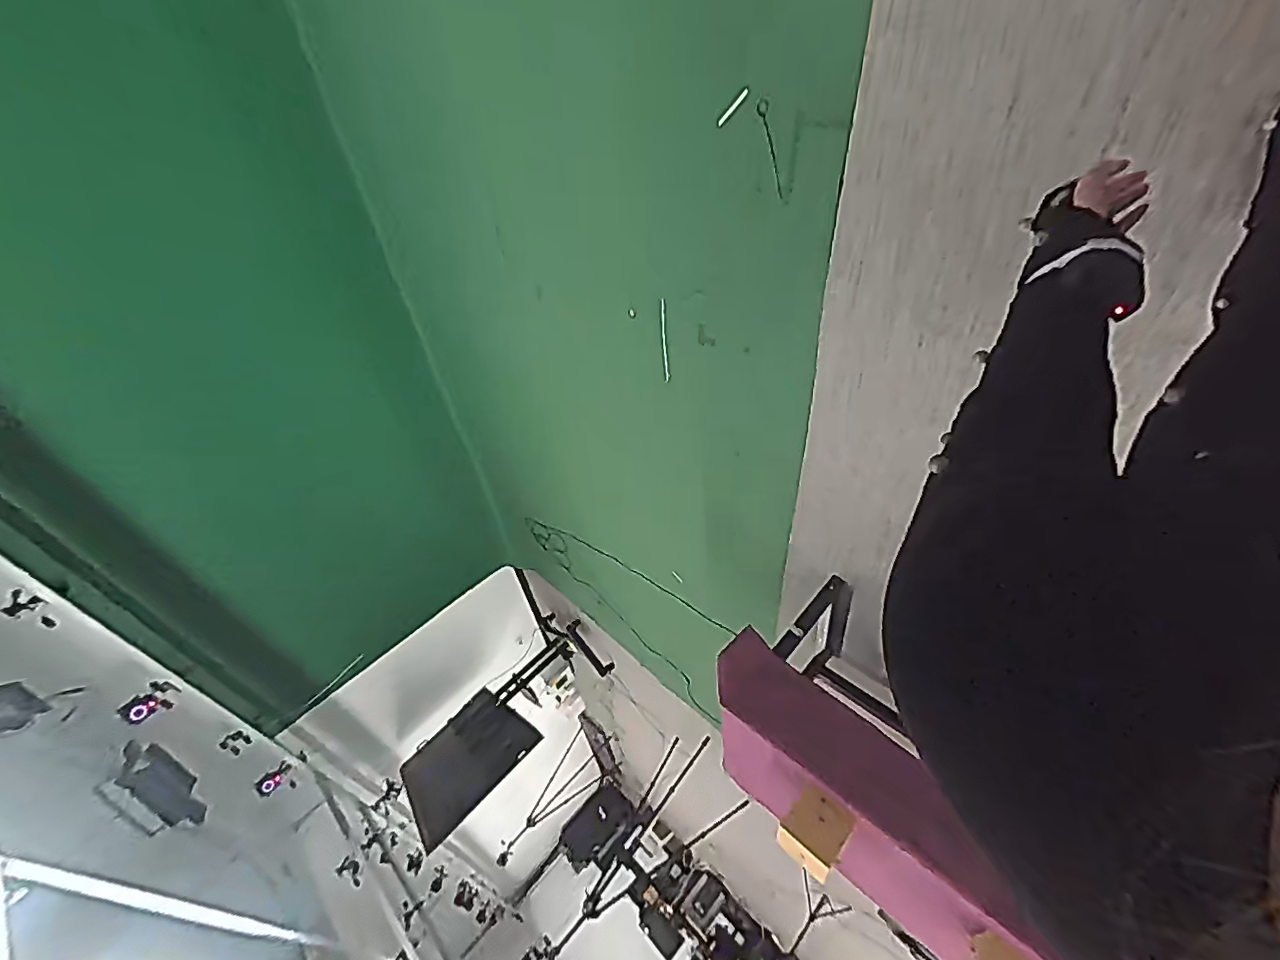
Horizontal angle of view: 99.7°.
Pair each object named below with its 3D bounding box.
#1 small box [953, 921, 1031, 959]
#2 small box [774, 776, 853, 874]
[{"bbox_3d":[0.905,1.273,1.364,0.179,0.176,0.168,31,146,35],"label":"small box"},{"bbox_3d":[0.532,1.053,1.659,0.168,0.176,0.179,31,146,34],"label":"small box"}]
